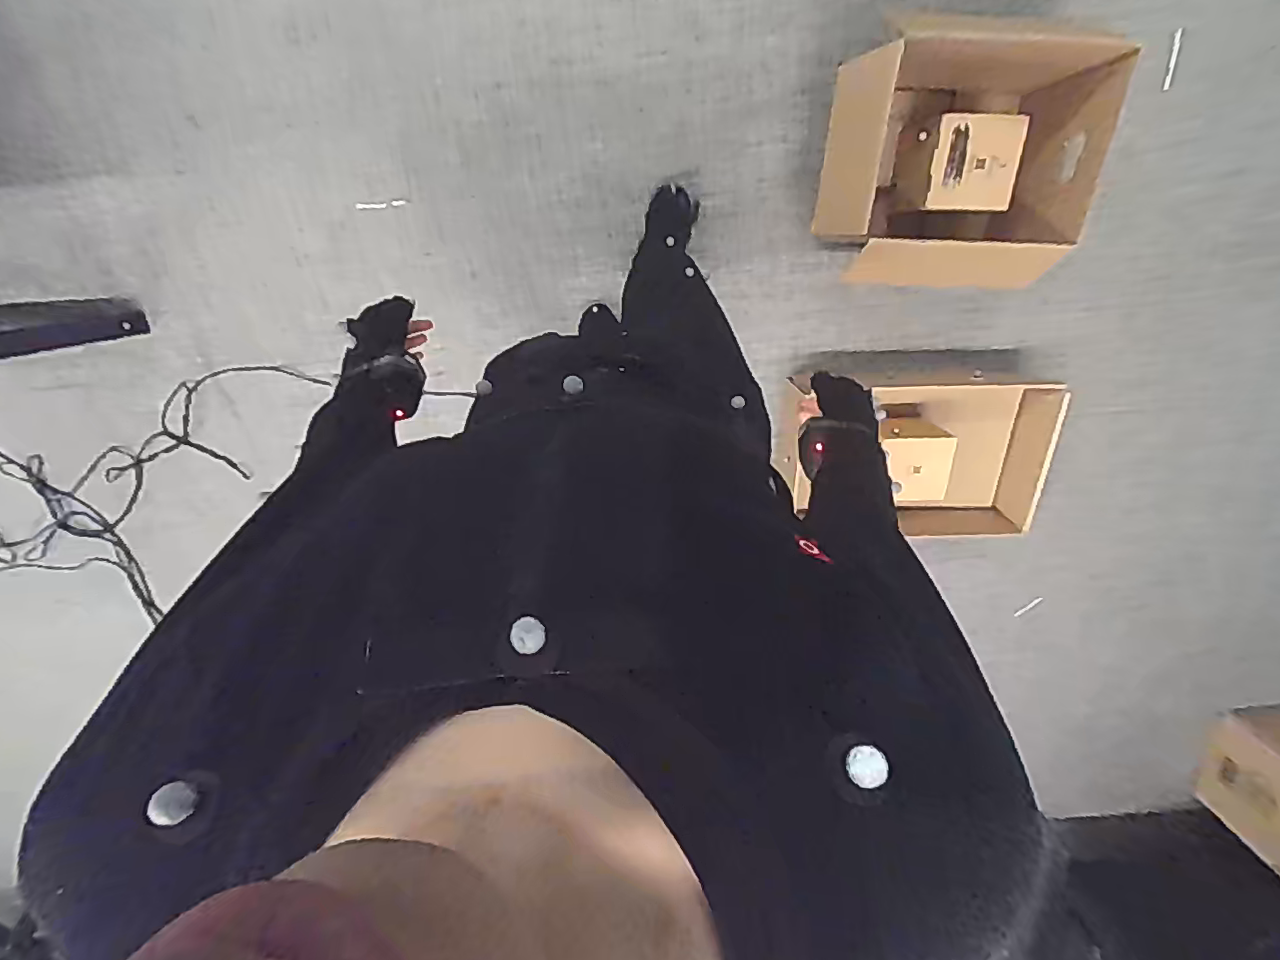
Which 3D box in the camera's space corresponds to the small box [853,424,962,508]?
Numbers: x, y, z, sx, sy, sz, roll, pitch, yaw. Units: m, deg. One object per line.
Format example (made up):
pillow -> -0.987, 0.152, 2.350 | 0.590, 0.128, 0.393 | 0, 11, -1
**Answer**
small box -> 0.661, -0.040, 1.355 | 0.179, 0.176, 0.168 | -1, 113, 0
